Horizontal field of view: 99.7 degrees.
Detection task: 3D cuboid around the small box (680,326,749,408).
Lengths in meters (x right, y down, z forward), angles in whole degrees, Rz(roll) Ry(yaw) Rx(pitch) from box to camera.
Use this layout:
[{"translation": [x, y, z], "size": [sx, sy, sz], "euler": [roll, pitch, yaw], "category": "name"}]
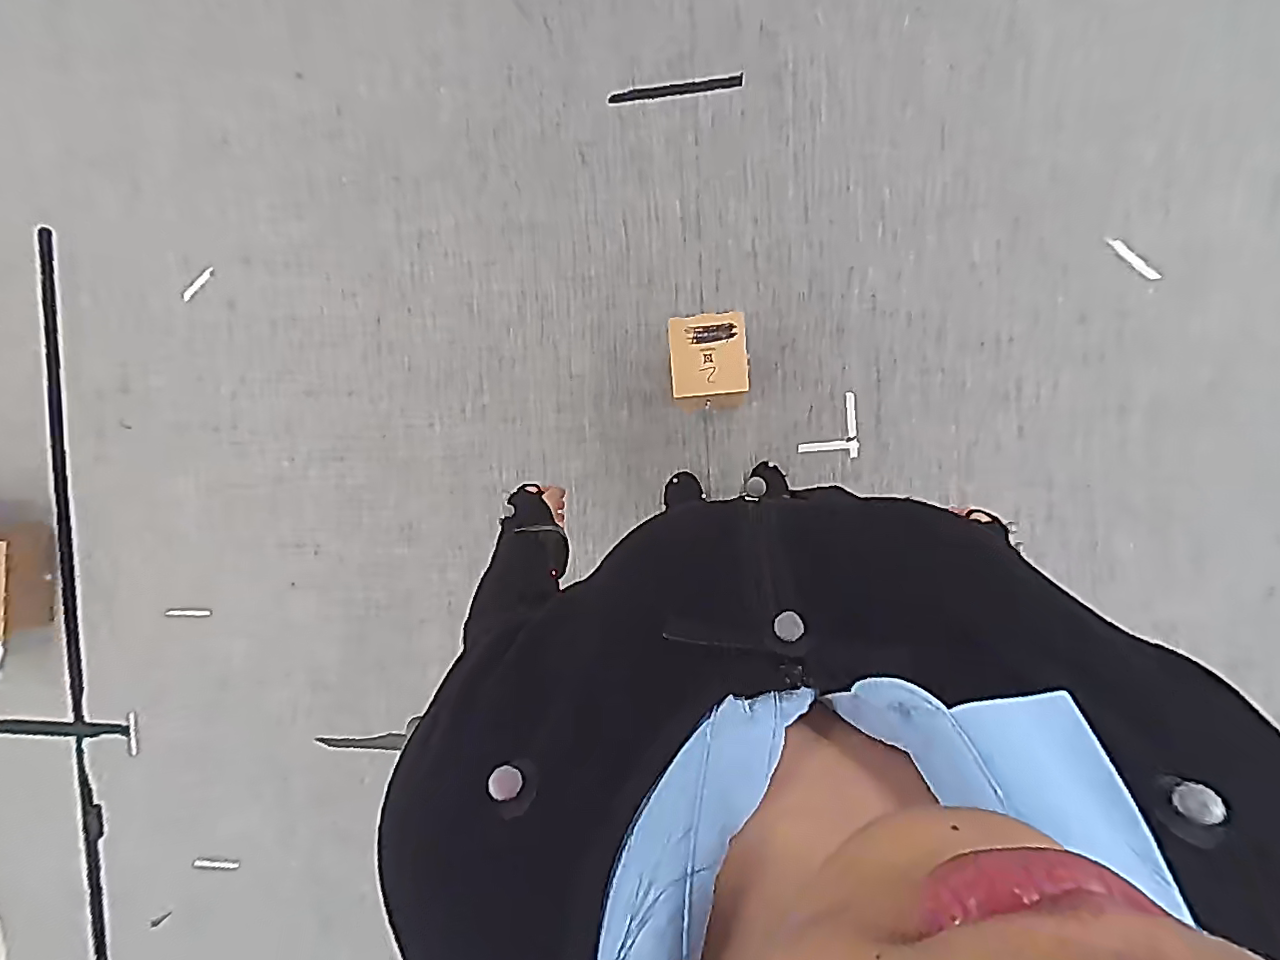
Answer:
[{"translation": [0.189, -0.289, 1.404], "size": [0.168, 0.176, 0.179], "euler": [-4, 92, 6], "category": "small box"}]
